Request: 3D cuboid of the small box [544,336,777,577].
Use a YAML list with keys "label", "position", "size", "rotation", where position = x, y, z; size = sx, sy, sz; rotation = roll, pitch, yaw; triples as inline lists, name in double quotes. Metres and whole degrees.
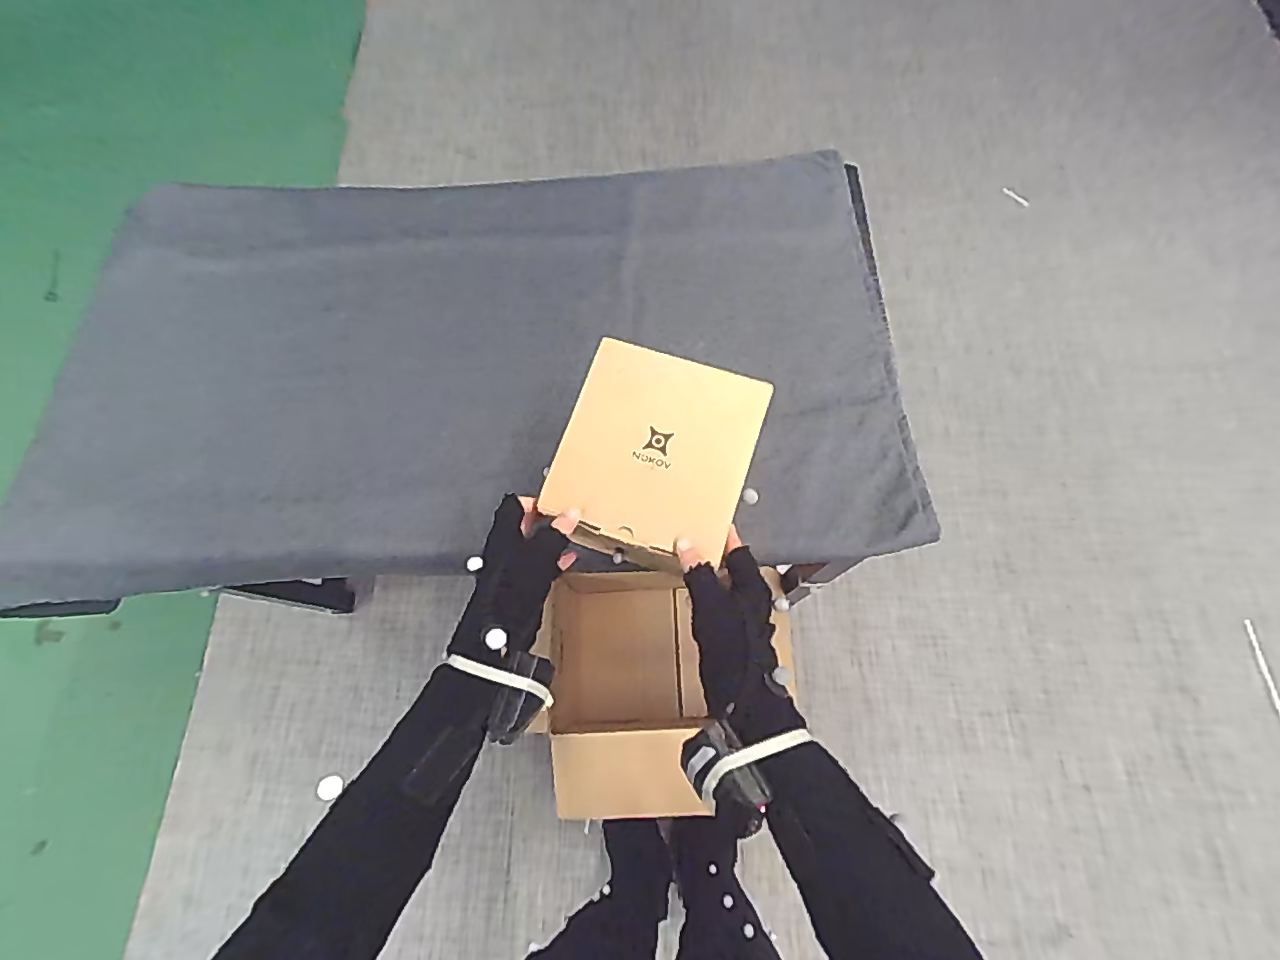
- label: "small box"
  position: [0.022, -0.012, 0.550]
  size: [0.168, 0.176, 0.179]
  rotation: [17, 78, 7]
